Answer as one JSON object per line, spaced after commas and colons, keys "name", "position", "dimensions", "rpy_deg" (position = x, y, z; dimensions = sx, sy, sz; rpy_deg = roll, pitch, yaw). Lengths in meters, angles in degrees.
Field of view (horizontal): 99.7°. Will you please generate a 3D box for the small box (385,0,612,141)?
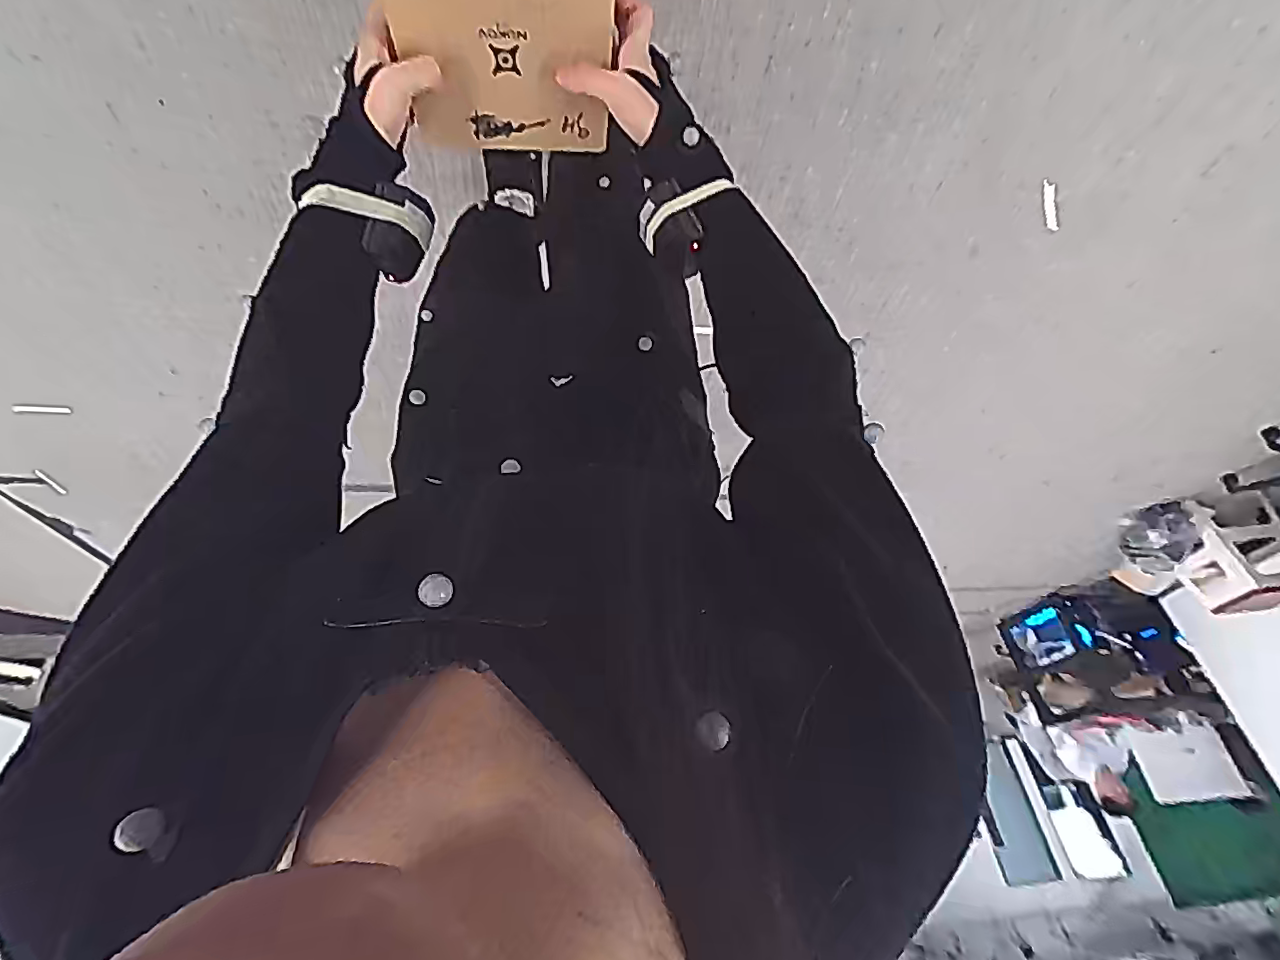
{"name": "small box", "position": [-0.112, -0.415, 0.437], "dimensions": [0.168, 0.176, 0.179], "rpy_deg": [-3, 161, -7]}
